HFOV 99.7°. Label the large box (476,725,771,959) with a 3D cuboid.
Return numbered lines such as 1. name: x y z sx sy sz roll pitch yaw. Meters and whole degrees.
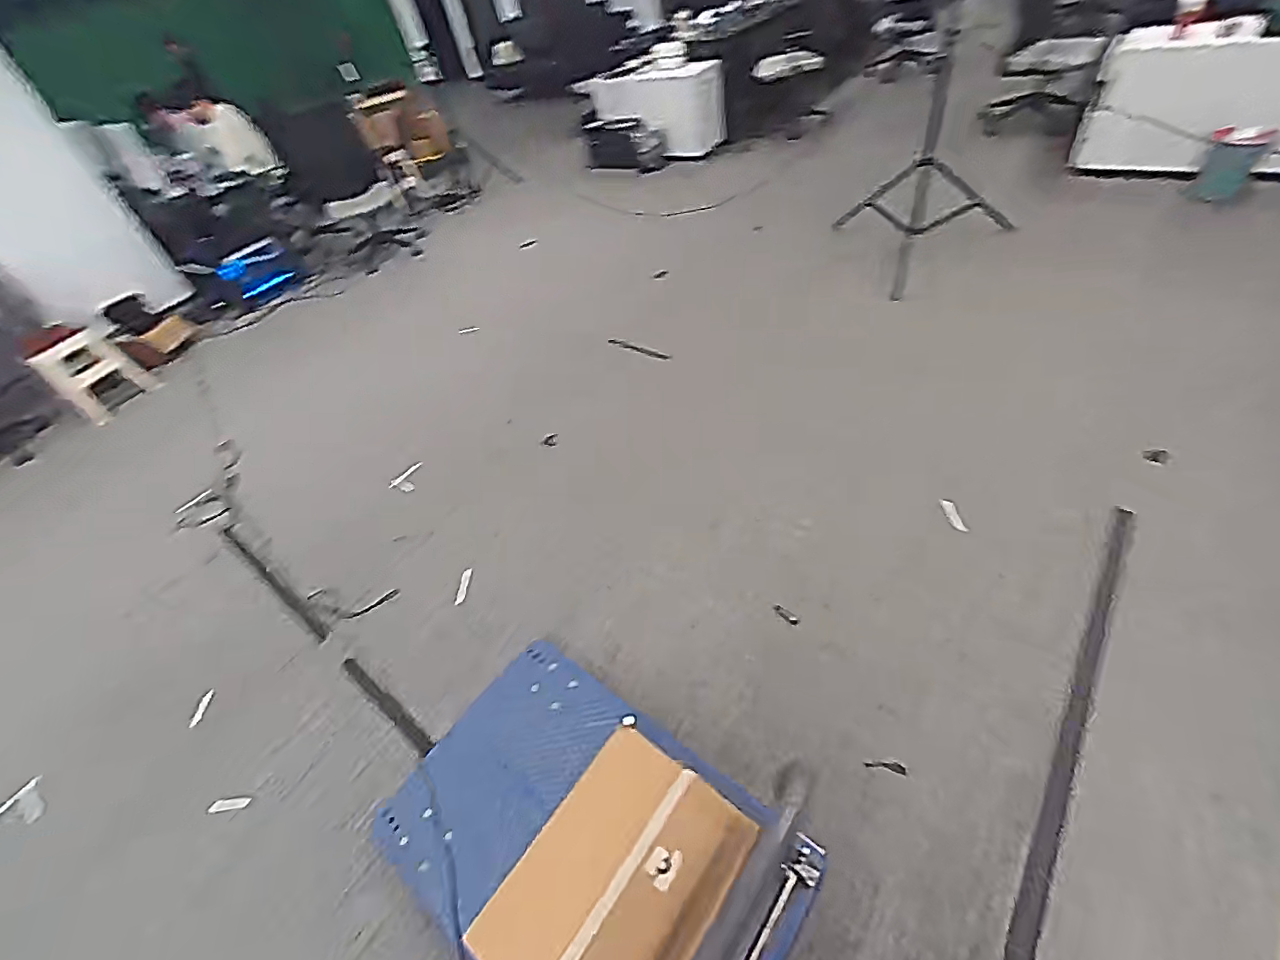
1. large box: 0.001 0.748 0.963 0.320 0.320 0.408 25 57 32
